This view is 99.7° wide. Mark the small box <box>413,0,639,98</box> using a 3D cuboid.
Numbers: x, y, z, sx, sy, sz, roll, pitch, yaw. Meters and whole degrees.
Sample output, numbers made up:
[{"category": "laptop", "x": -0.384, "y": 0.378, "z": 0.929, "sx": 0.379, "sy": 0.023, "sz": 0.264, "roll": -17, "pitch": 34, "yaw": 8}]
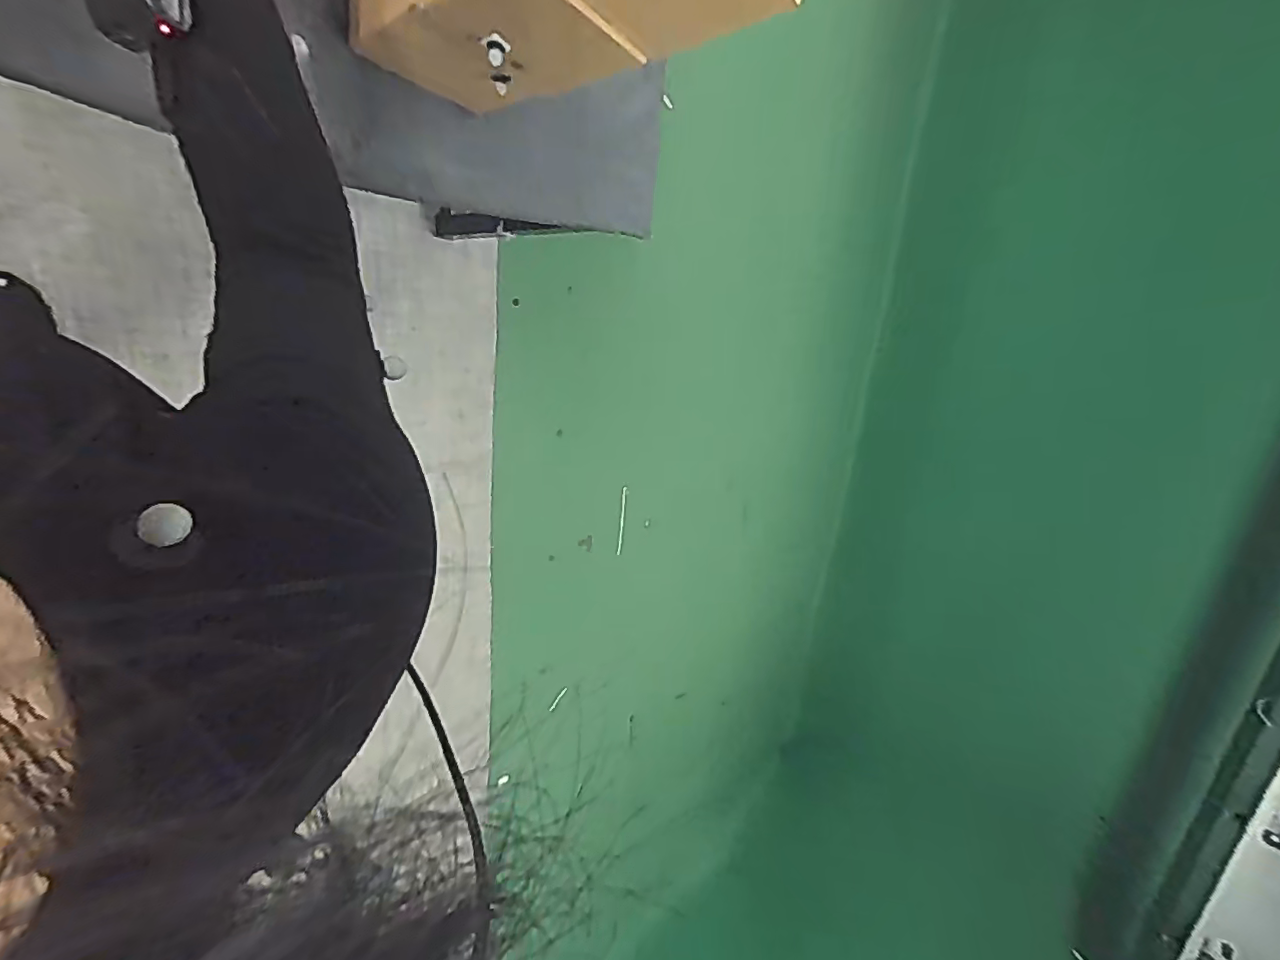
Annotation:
[{"category": "small box", "x": -0.103, "y": -0.516, "z": 0.523, "sx": 0.168, "sy": 0.176, "sz": 0.179, "roll": -2, "pitch": 106, "yaw": -47}]

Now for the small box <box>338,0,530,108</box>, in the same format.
[{"category": "small box", "x": -0.221, "y": -0.562, "z": 0.624, "sx": 0.179, "sy": 0.176, "sz": 0.168, "roll": -5, "pitch": 107, "yaw": -49}]

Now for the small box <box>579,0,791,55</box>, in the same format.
[{"category": "small box", "x": 0.019, "y": -0.479, "z": 0.420, "sx": 0.179, "sy": 0.176, "sz": 0.168, "roll": 1, "pitch": 103, "yaw": -48}]
